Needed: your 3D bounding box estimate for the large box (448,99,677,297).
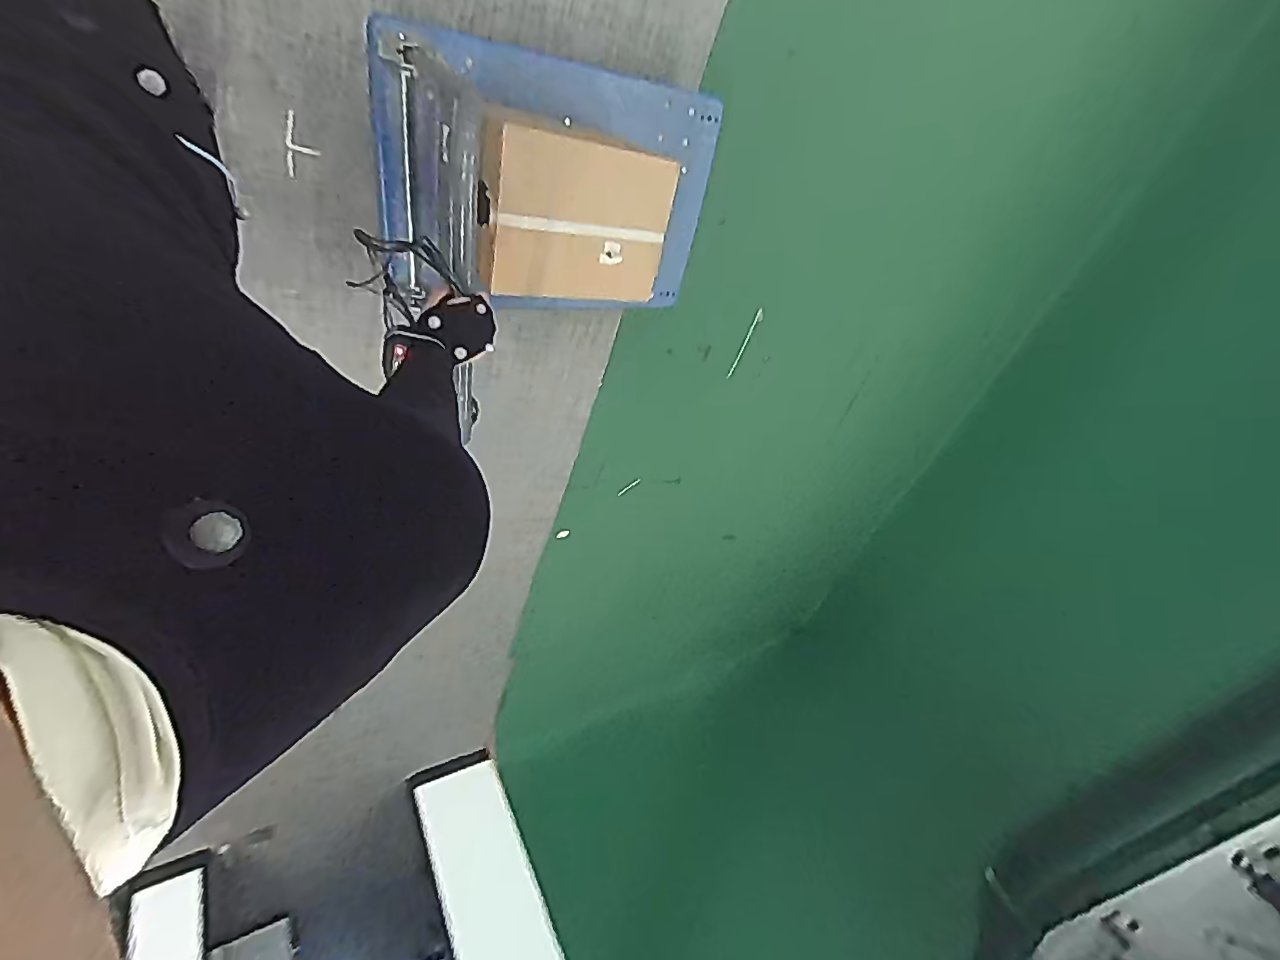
[{"bbox_3d":[-0.194,-0.629,1.234,0.408,0.320,0.320,-10,134,-33],"label":"large box"}]
